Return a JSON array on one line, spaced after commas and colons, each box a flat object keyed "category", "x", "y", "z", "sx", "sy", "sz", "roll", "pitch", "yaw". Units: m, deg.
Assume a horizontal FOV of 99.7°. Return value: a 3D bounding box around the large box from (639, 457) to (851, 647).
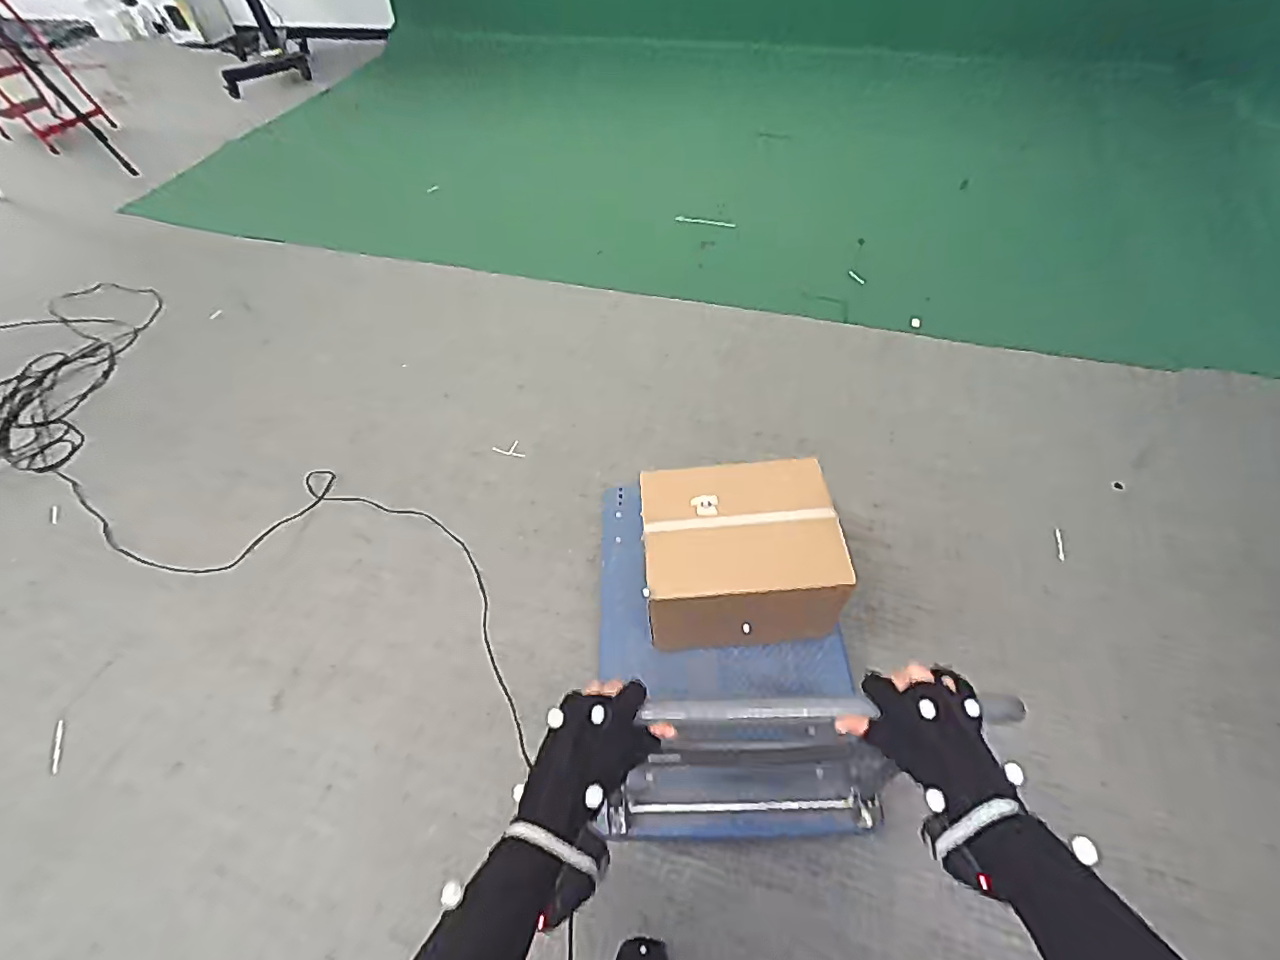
[{"category": "large box", "x": 0.218, "y": 0.178, "z": 1.265, "sx": 0.408, "sy": 0.320, "sz": 0.320, "roll": -6, "pitch": 53, "yaw": 1}]
